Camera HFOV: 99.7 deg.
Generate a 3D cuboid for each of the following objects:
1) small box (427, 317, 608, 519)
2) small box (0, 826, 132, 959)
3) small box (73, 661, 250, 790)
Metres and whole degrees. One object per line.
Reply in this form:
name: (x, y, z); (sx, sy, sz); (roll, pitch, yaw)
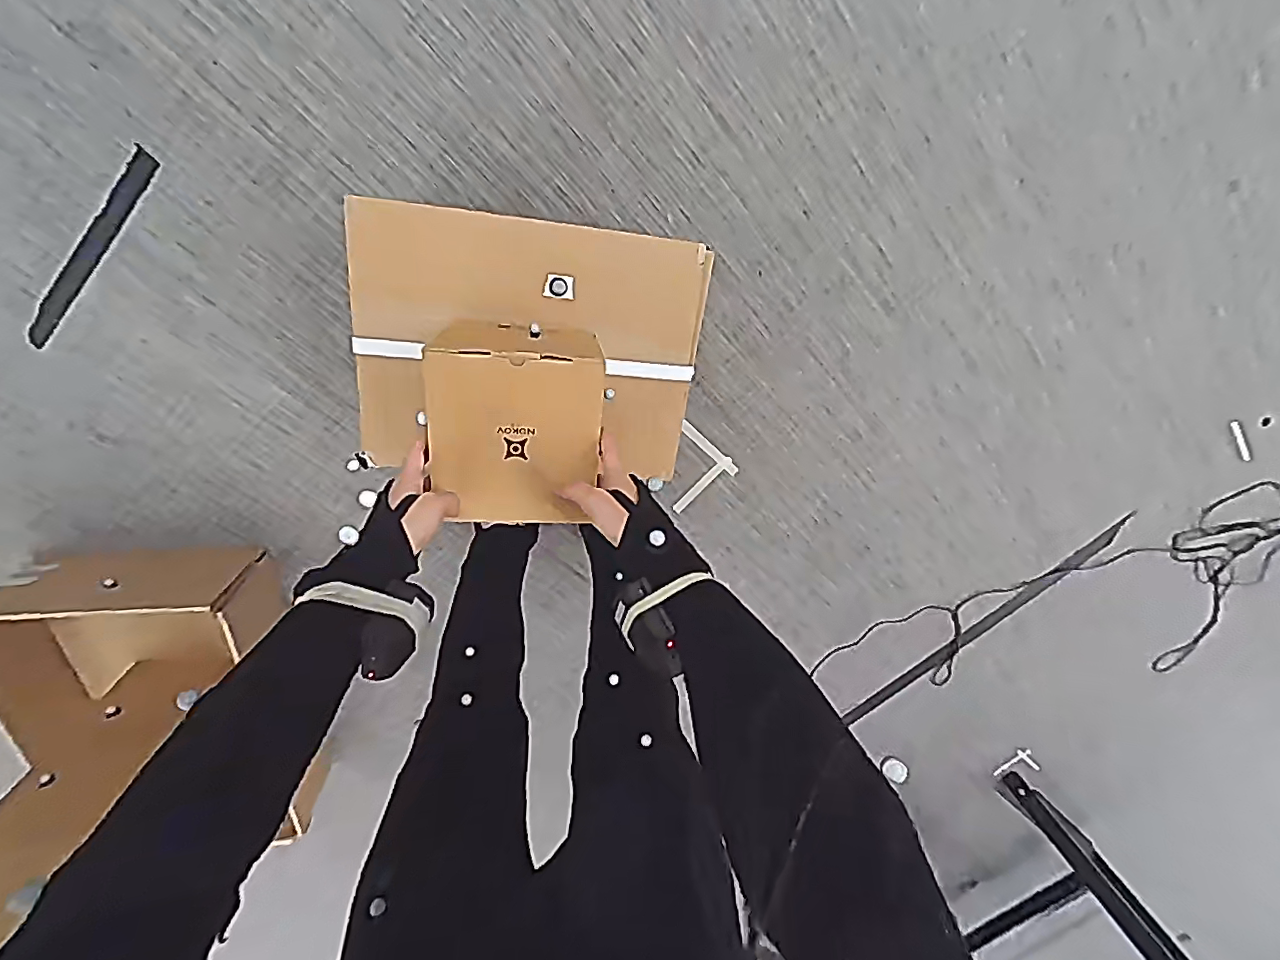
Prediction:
small box: (-0.129, -0.073, 0.600); (0.168, 0.176, 0.179); (1, 114, -10)
small box: (-0.854, 0.603, 0.737); (0.179, 0.176, 0.168); (0, 116, -7)
small box: (-0.892, 0.464, 1.029); (0.179, 0.176, 0.168); (2, 115, -10)
